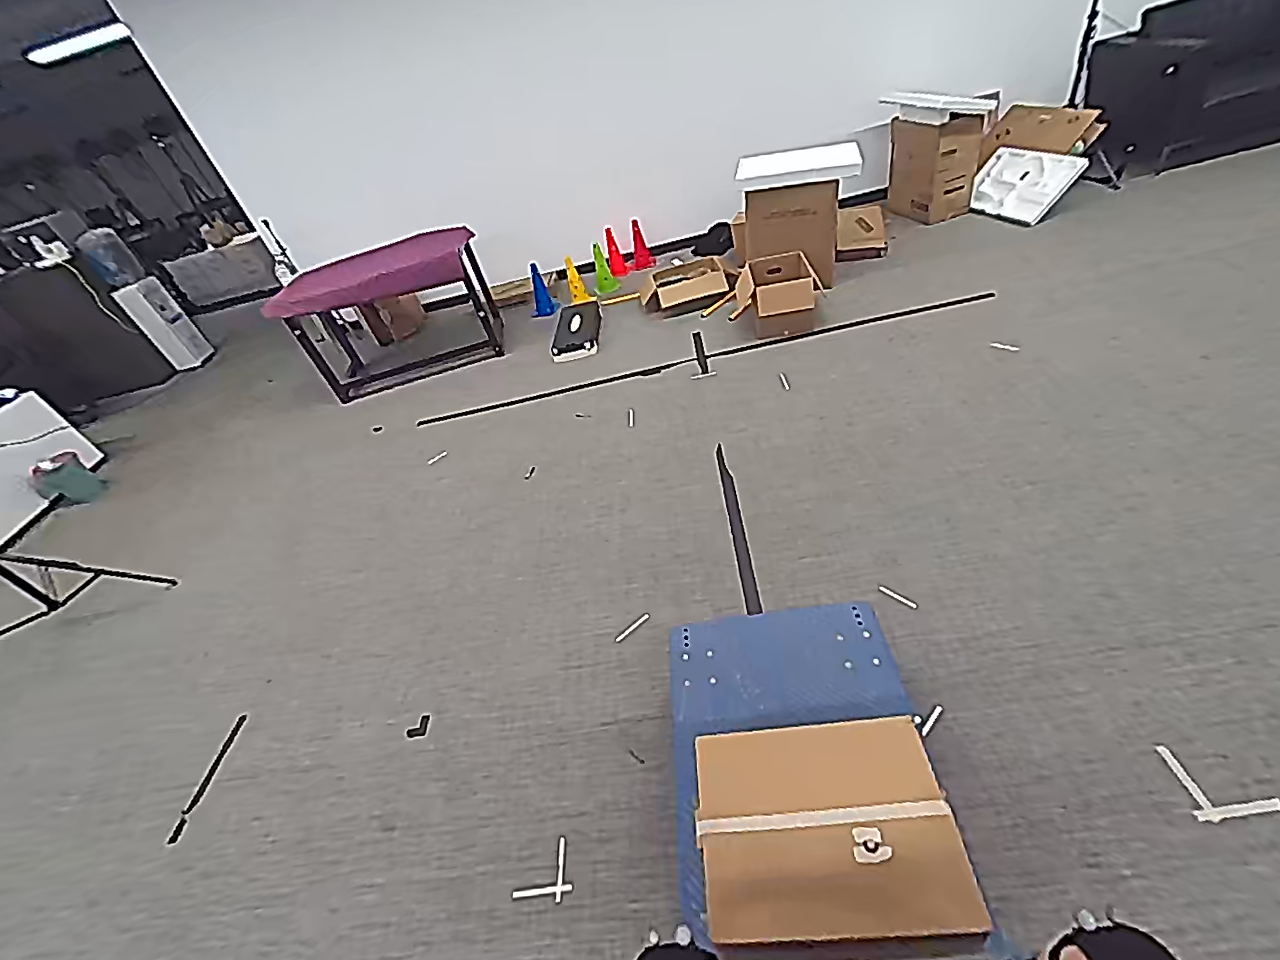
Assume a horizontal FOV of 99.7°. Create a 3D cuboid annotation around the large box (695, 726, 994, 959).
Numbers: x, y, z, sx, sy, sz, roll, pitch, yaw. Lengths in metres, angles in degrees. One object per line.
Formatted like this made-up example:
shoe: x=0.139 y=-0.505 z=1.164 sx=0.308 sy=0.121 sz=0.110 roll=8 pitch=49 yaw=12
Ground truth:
large box: x=0.329 y=0.689 z=0.979 sx=0.408 sy=0.320 sz=0.320 roll=-10 pitch=40 yaw=8
